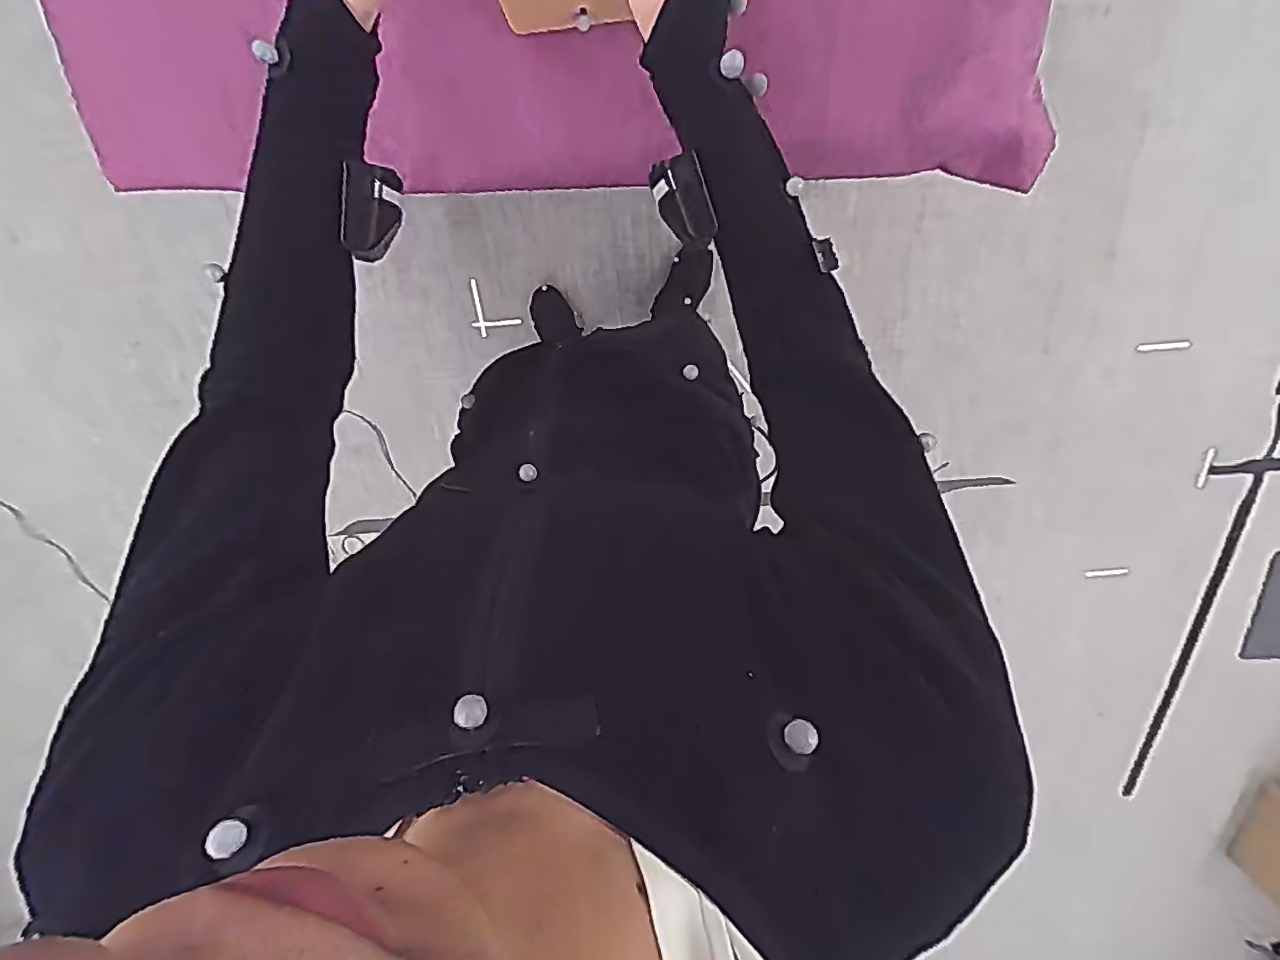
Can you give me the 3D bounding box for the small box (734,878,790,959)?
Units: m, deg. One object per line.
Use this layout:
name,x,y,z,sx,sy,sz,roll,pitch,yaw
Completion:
small box,0.444,1.614,1.992,0.168,0.176,0.179,-6,113,-1

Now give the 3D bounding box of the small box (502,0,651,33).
small box,-0.072,-0.601,0.559,0.179,0.176,0.168,-7,112,0
